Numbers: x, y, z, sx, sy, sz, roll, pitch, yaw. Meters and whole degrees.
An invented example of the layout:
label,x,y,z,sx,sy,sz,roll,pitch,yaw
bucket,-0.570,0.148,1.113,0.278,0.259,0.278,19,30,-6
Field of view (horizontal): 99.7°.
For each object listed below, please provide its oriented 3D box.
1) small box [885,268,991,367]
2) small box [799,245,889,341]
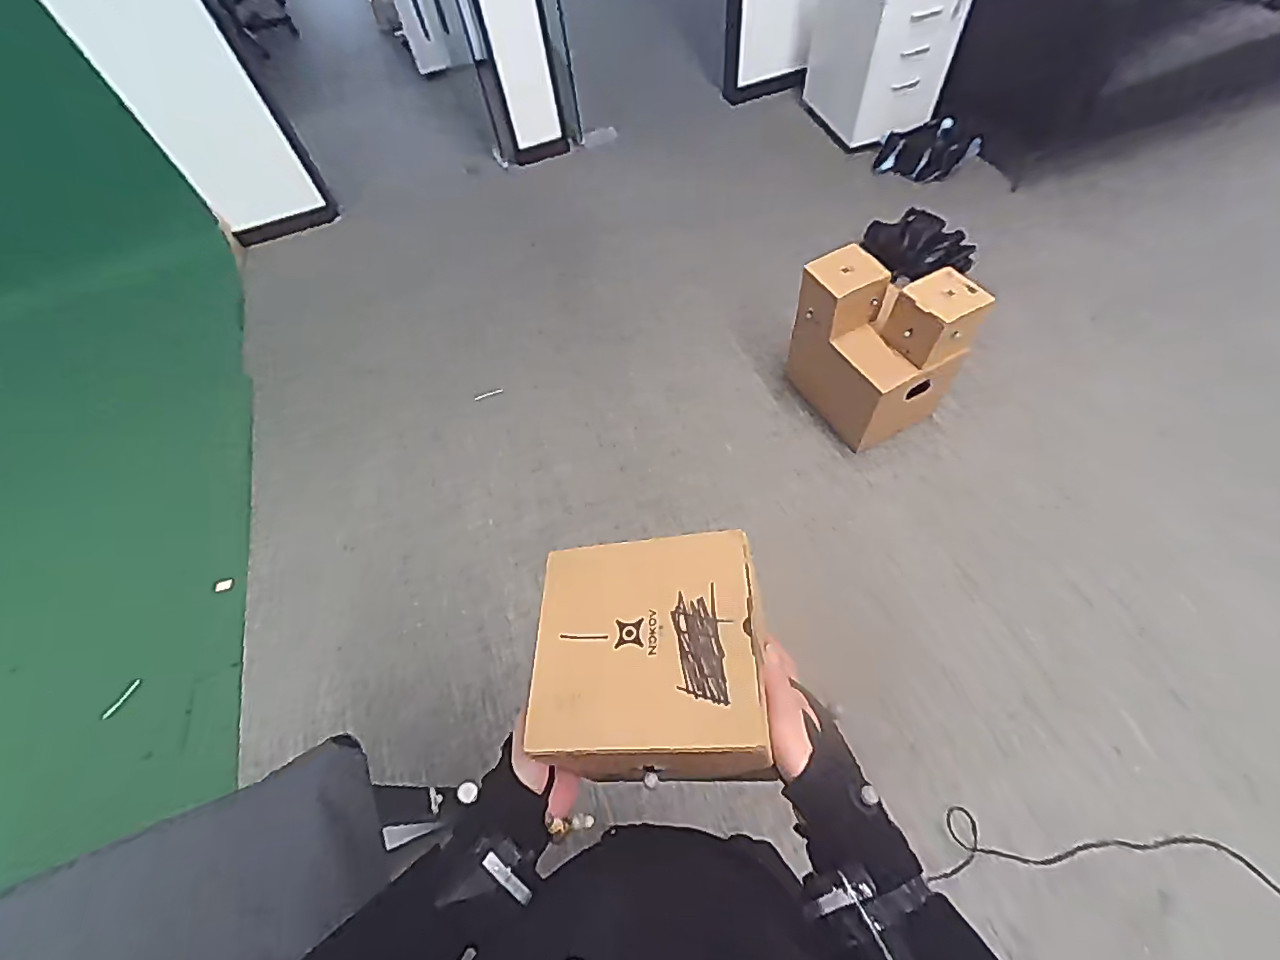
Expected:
label,x,y,z,sx,sy,sz,roll,pitch,yaw
small box,0.811,-0.444,1.499,0.179,0.176,0.168,-28,60,-11
small box,0.588,-0.544,1.585,0.179,0.176,0.168,-27,59,-5
